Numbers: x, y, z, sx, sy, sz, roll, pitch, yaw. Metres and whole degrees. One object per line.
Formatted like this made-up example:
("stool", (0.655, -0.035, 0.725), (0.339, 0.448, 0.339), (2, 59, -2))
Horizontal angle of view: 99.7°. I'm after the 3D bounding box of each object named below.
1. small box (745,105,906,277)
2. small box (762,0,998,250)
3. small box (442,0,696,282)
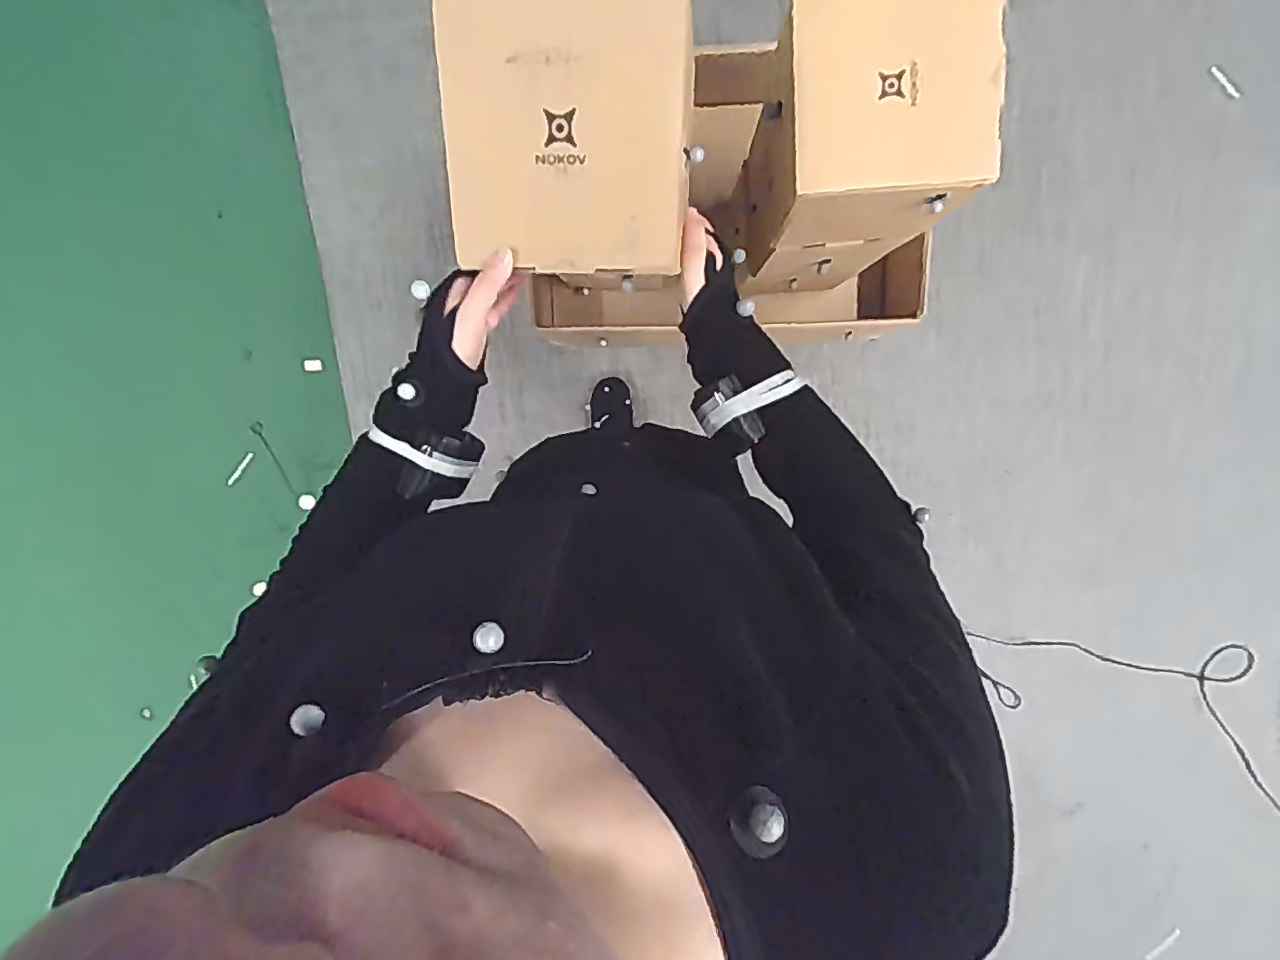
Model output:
("small box", (0.232, -0.370, 0.706), (0.168, 0.176, 0.179), (-3, 100, 2))
("small box", (0.221, -0.341, 0.546), (0.179, 0.176, 0.168), (-3, 99, 3))
("small box", (-0.043, -0.261, 0.445), (0.168, 0.176, 0.179), (4, 110, 4))
